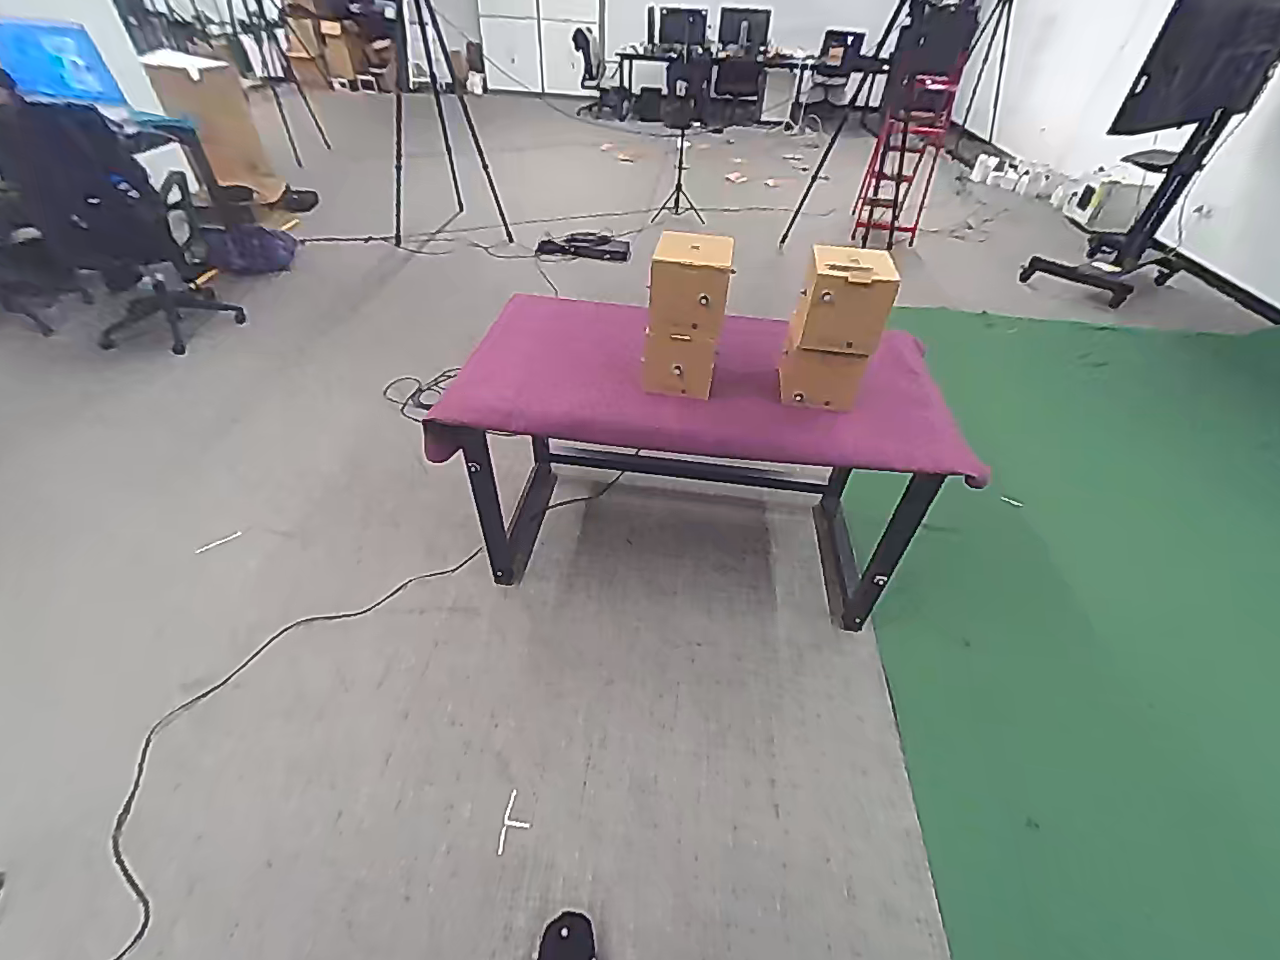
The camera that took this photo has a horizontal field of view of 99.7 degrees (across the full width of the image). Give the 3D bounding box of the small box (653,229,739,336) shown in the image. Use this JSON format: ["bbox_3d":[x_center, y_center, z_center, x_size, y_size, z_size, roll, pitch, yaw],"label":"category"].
[{"bbox_3d":[0.124,-0.442,1.215,0.168,0.176,0.179,9,43,5],"label":"small box"}]

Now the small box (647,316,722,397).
[{"bbox_3d":[0.111,-0.323,1.326,0.168,0.176,0.179,9,44,6],"label":"small box"}]

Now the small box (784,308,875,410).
[{"bbox_3d":[0.451,-0.290,1.307,0.168,0.176,0.179,11,44,6],"label":"small box"}]
